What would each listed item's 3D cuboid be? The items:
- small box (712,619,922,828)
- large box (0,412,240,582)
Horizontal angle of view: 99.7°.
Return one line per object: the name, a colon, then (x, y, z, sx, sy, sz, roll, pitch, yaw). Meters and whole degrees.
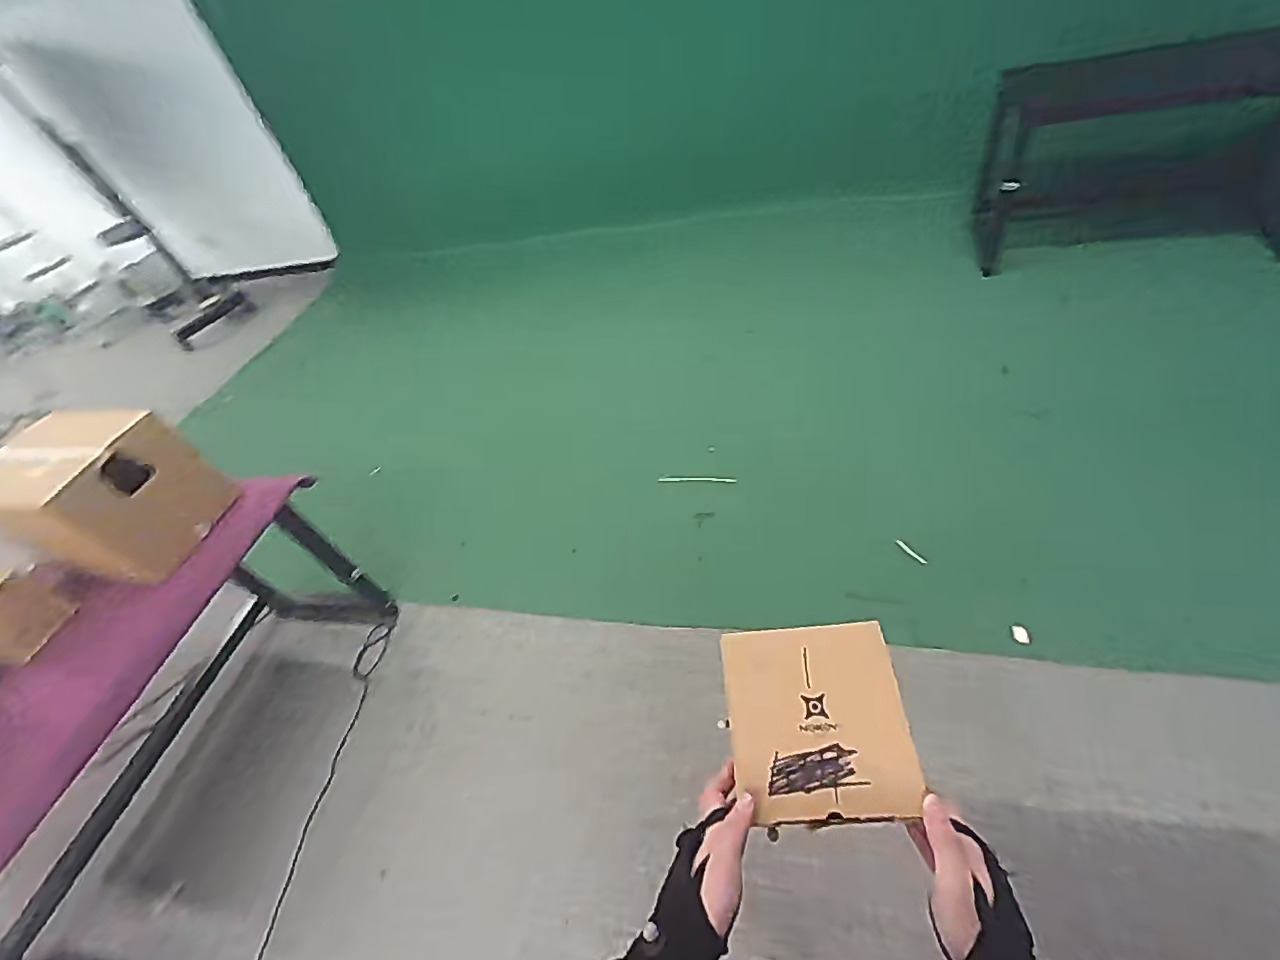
small box: (0.173, 0.267, 0.584, 0.168, 0.176, 0.179, -8, 56, 6)
large box: (-1.376, 0.044, 1.385, 0.408, 0.320, 0.320, 1, 50, 16)
